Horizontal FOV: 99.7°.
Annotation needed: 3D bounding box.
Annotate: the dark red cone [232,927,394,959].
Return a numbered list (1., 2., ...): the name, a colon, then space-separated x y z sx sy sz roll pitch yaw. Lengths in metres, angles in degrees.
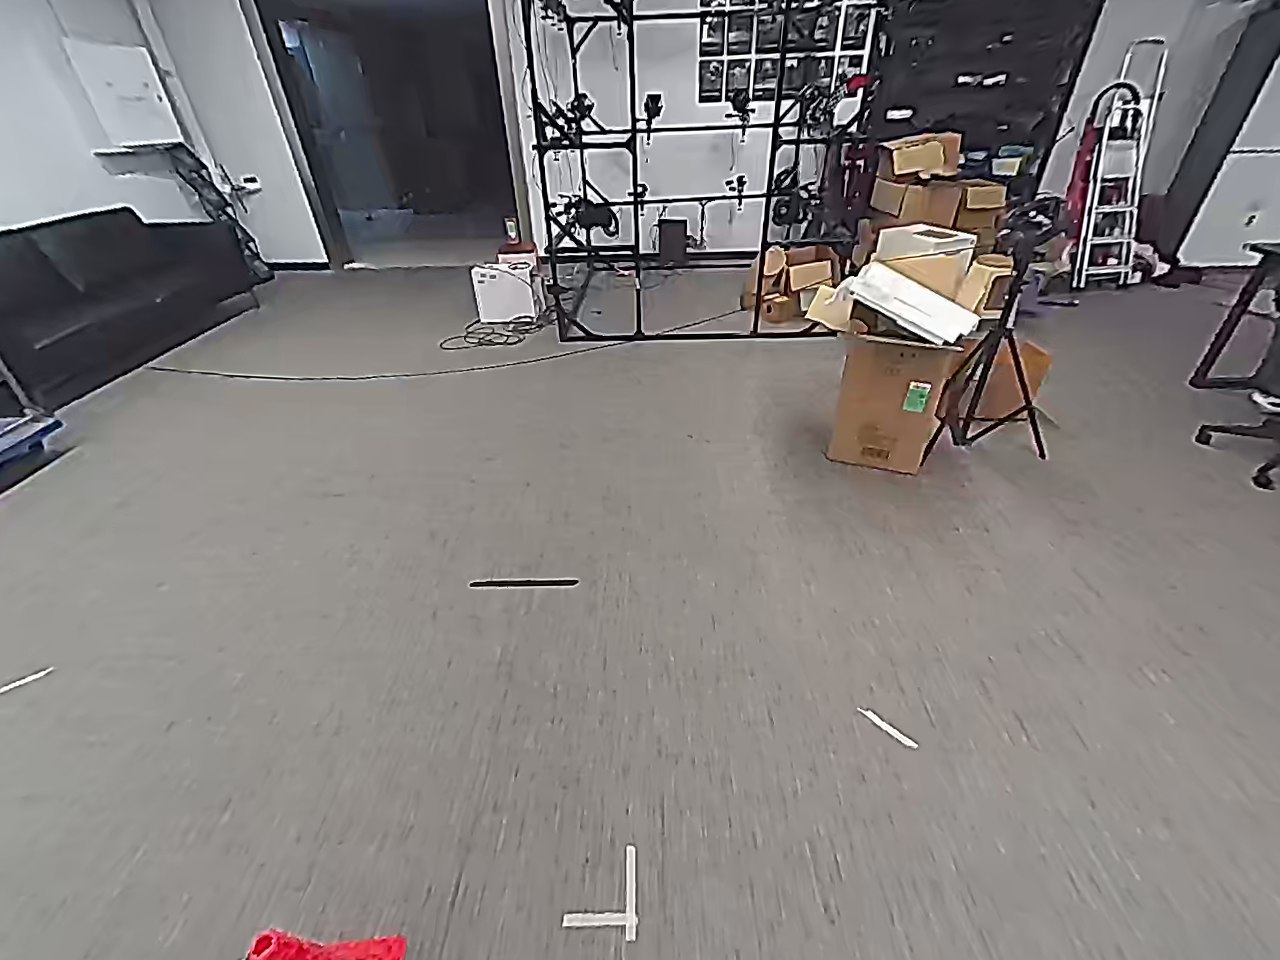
1. dark red cone: -0.582 0.842 0.915 0.202 0.394 0.201 -4 36 -3
